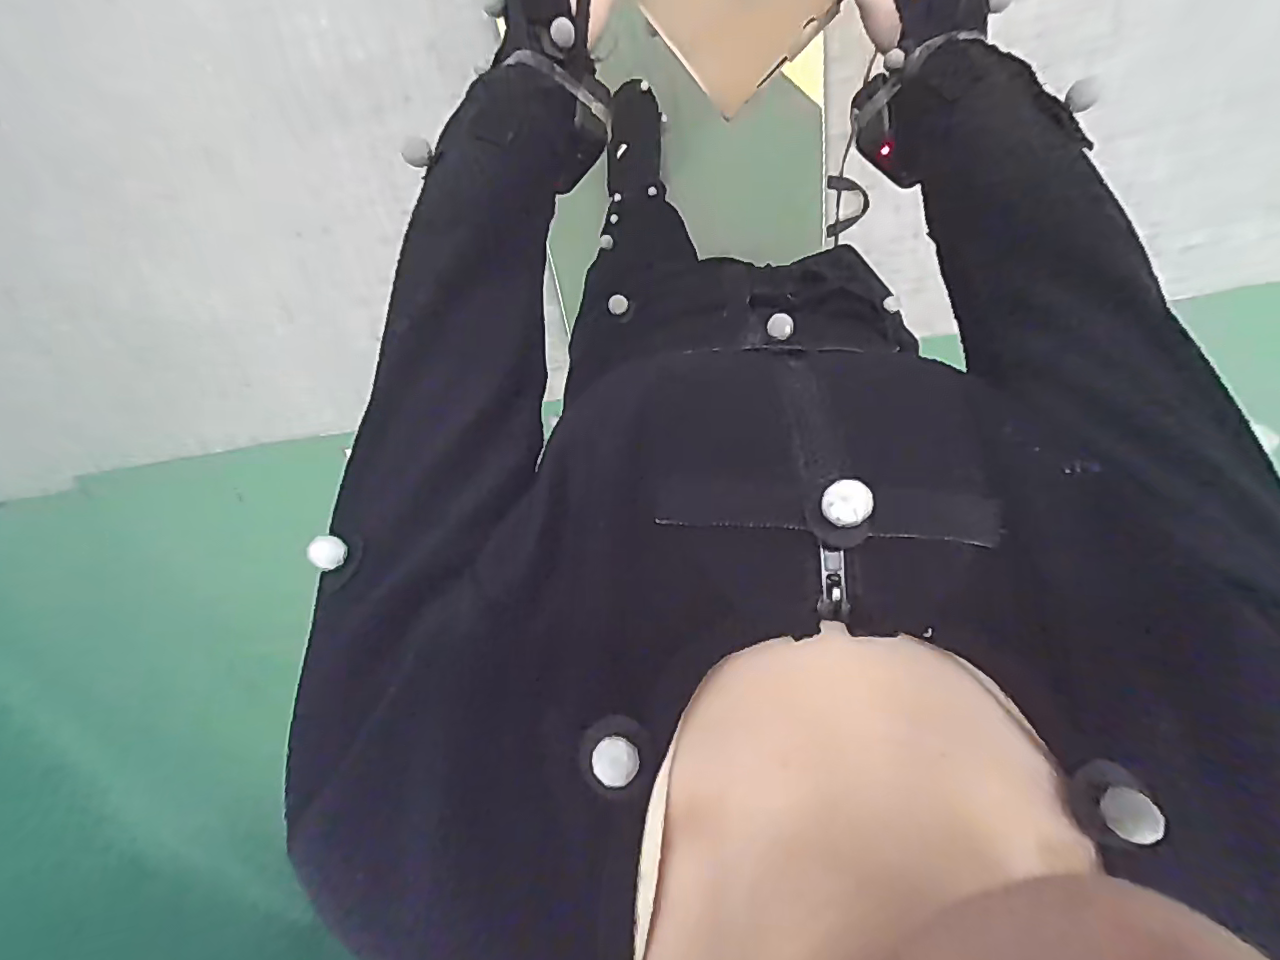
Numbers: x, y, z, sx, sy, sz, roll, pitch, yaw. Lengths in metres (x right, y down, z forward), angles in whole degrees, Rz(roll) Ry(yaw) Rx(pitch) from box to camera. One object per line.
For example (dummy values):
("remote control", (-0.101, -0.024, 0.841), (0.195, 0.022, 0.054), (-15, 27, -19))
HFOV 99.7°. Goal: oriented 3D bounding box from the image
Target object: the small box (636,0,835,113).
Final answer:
("small box", (0.070, -0.446, 0.428), (0.179, 0.176, 0.168), (36, 125, -28))
